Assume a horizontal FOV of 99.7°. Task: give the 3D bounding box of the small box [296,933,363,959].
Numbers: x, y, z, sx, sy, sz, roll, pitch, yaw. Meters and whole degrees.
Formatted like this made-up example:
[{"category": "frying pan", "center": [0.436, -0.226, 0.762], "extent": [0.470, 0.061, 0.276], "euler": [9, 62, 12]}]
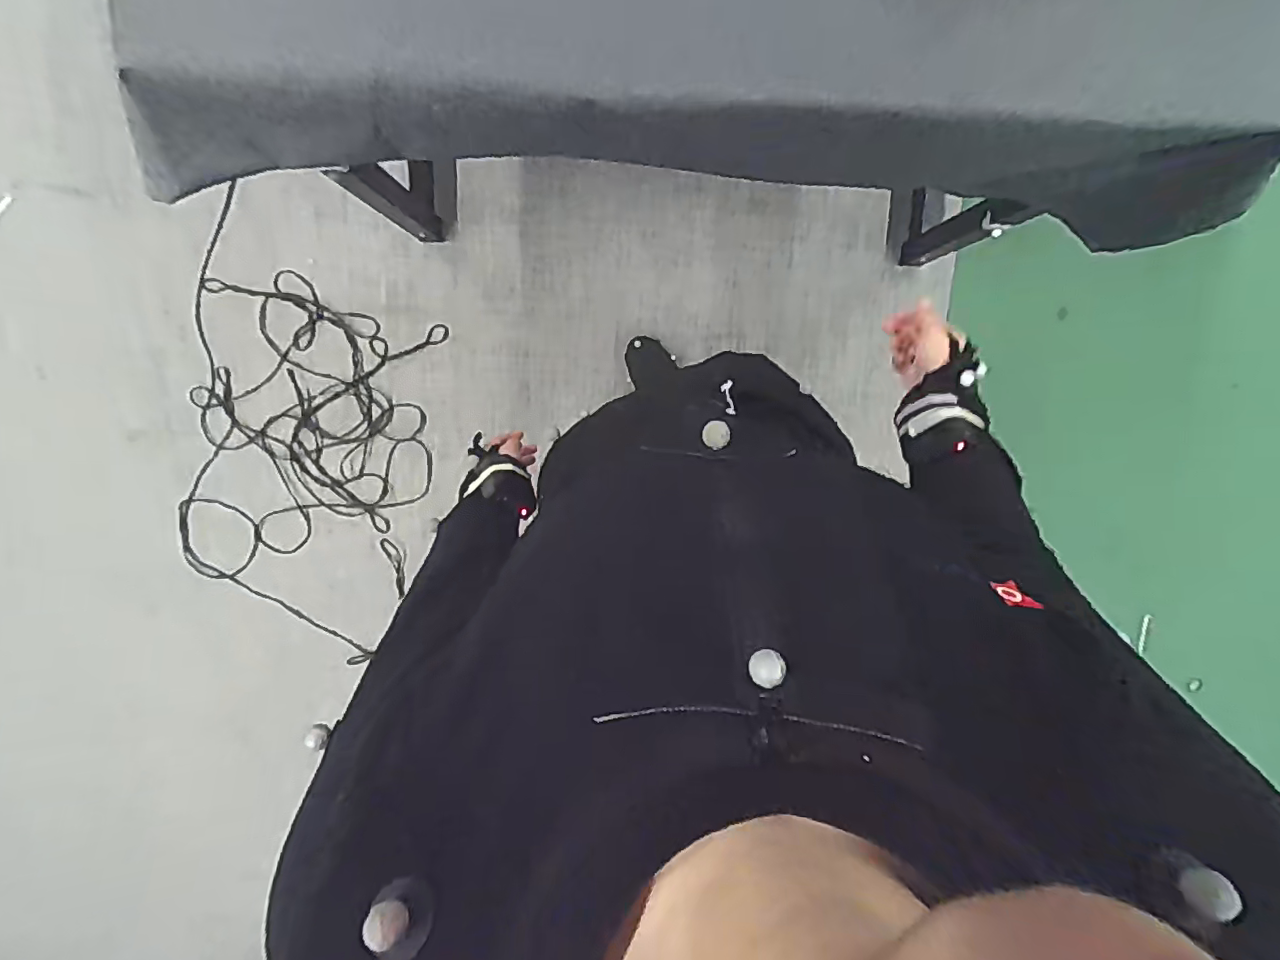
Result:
[{"category": "small box", "center": [-0.898, 1.418, 1.489], "extent": [0.168, 0.176, 0.179], "euler": [21, 98, -4]}]
